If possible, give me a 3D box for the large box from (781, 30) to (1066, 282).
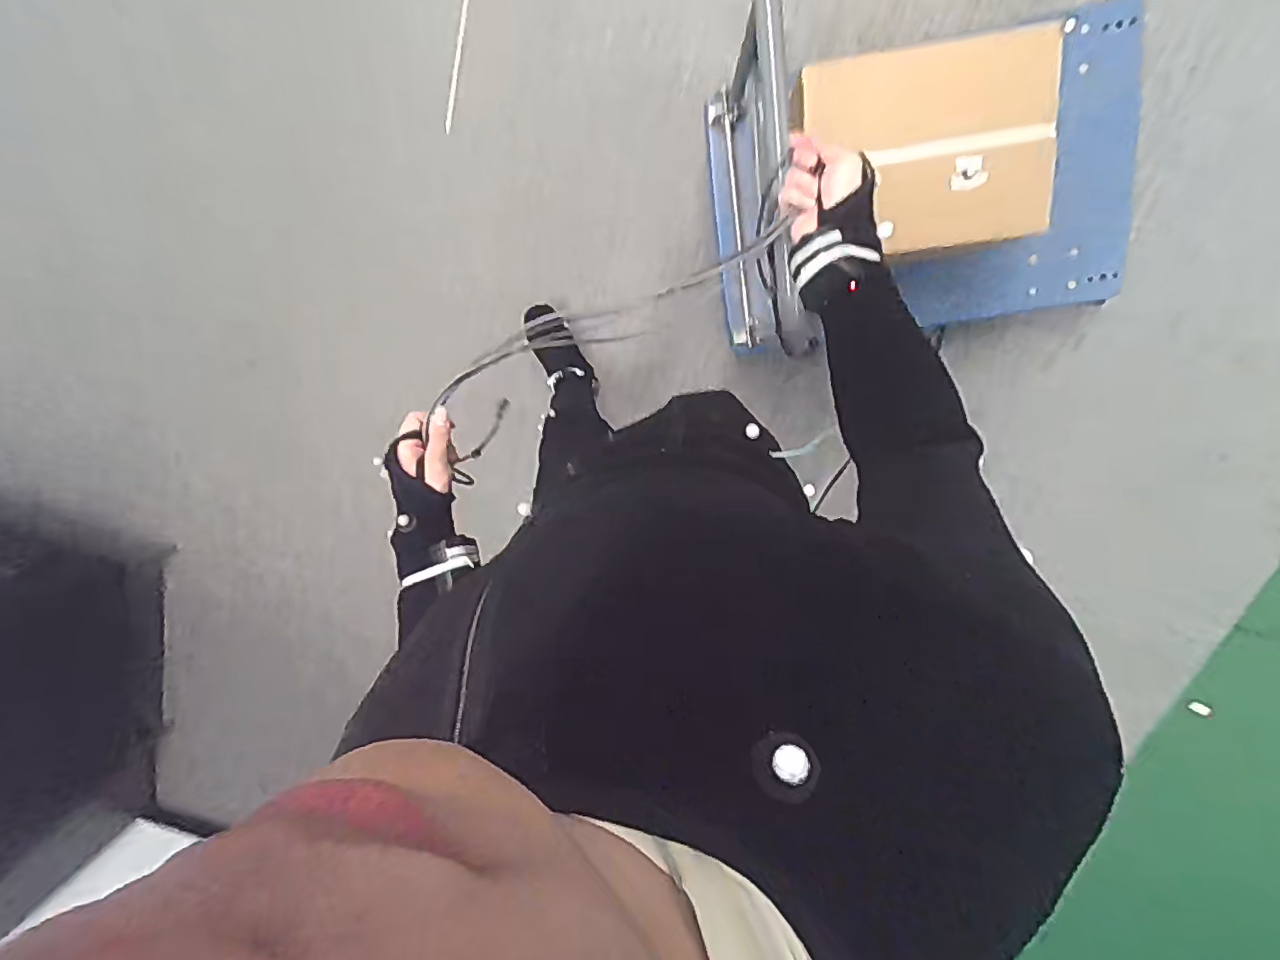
[{"bbox_3d":[0.508,-0.586,1.058,0.408,0.320,0.320,-4,106,7],"label":"large box"}]
